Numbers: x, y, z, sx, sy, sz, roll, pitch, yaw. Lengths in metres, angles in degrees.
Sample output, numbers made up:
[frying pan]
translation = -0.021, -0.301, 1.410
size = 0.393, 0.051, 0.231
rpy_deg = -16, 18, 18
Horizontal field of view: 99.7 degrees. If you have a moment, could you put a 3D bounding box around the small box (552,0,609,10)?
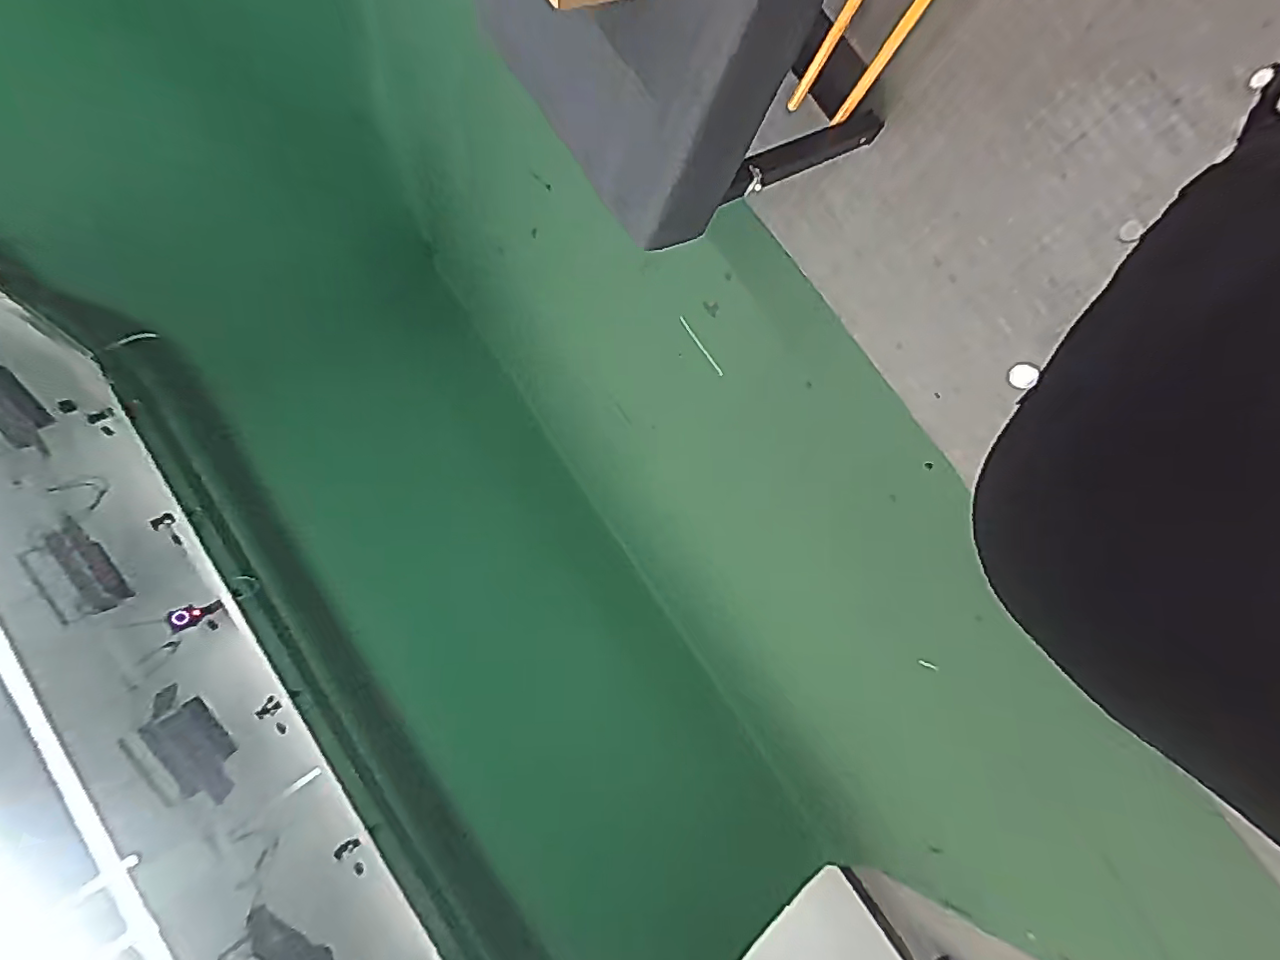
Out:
[small box]
translation = -0.060, -0.731, 0.653
size = 0.168, 0.176, 0.179
rpy_deg = 57, 158, 7
